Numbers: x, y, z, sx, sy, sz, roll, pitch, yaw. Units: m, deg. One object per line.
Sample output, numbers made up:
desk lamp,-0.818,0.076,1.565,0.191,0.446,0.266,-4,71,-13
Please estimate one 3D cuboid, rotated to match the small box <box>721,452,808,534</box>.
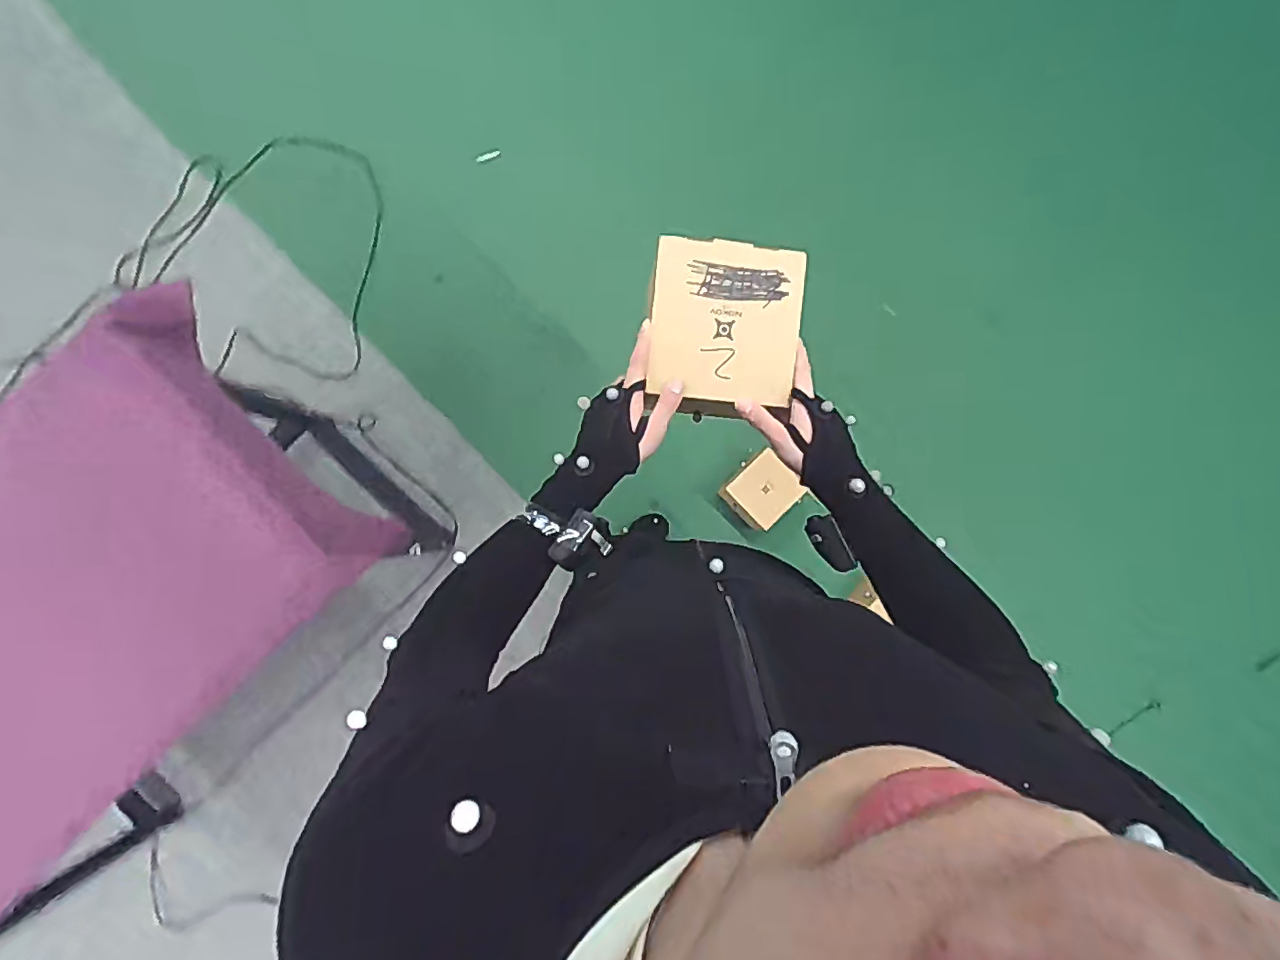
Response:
small box,0.353,0.045,1.579,0.179,0.176,0.168,-44,87,-5
